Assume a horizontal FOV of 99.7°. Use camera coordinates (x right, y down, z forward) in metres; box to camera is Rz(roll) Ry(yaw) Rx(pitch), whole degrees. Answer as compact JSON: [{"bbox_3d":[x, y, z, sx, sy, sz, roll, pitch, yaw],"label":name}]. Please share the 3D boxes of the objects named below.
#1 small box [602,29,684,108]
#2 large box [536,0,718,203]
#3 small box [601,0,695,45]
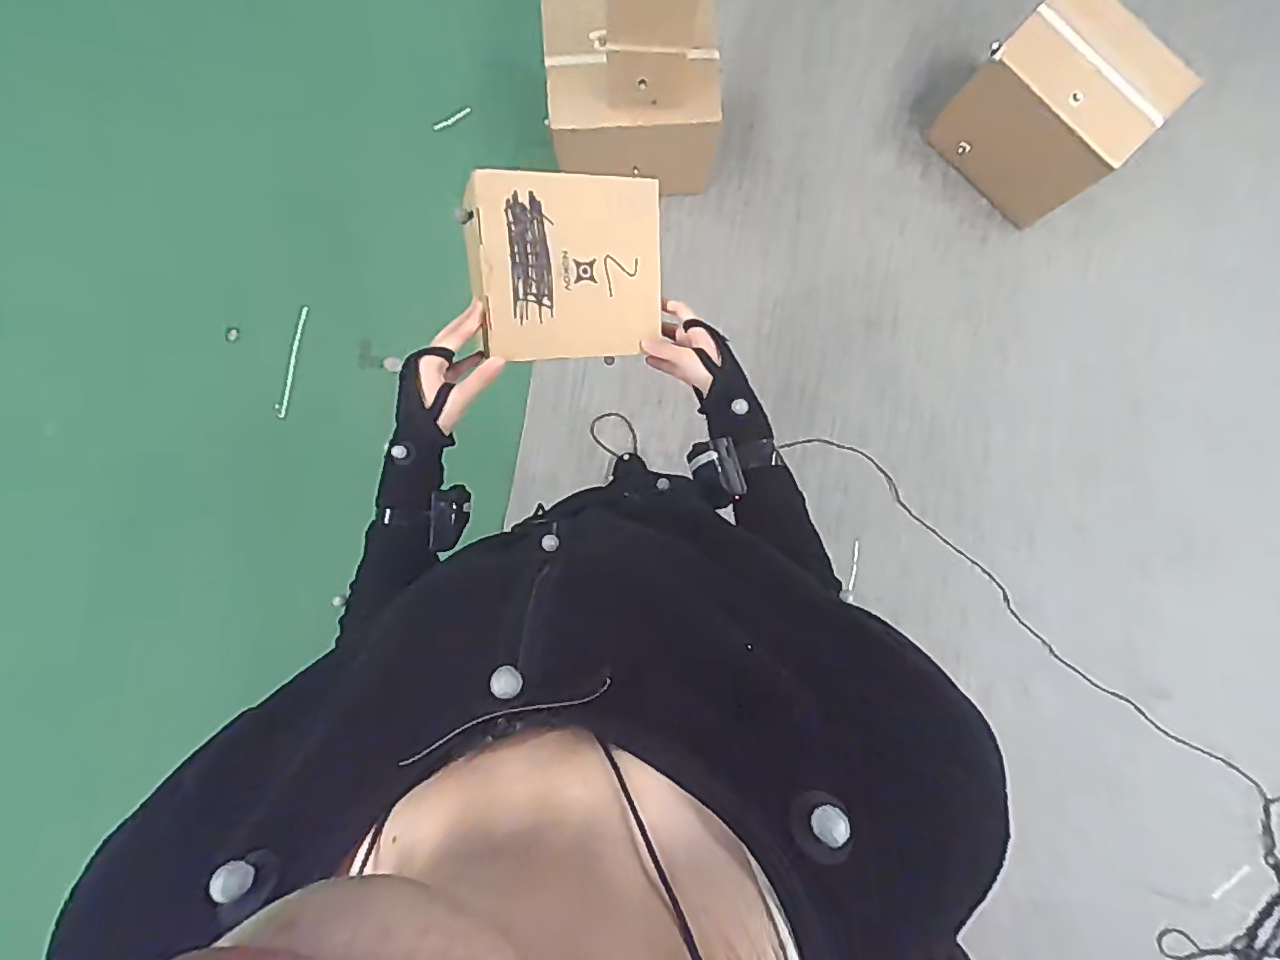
[{"bbox_3d":[0.006,-0.932,1.149,0.168,0.176,0.179,1,89,-3],"label":"small box"},{"bbox_3d":[-0.032,-0.955,1.395,0.408,0.320,0.320,-4,88,-1],"label":"large box"},{"bbox_3d":[0.017,-0.942,0.987,0.179,0.176,0.168,2,89,-3],"label":"small box"}]
